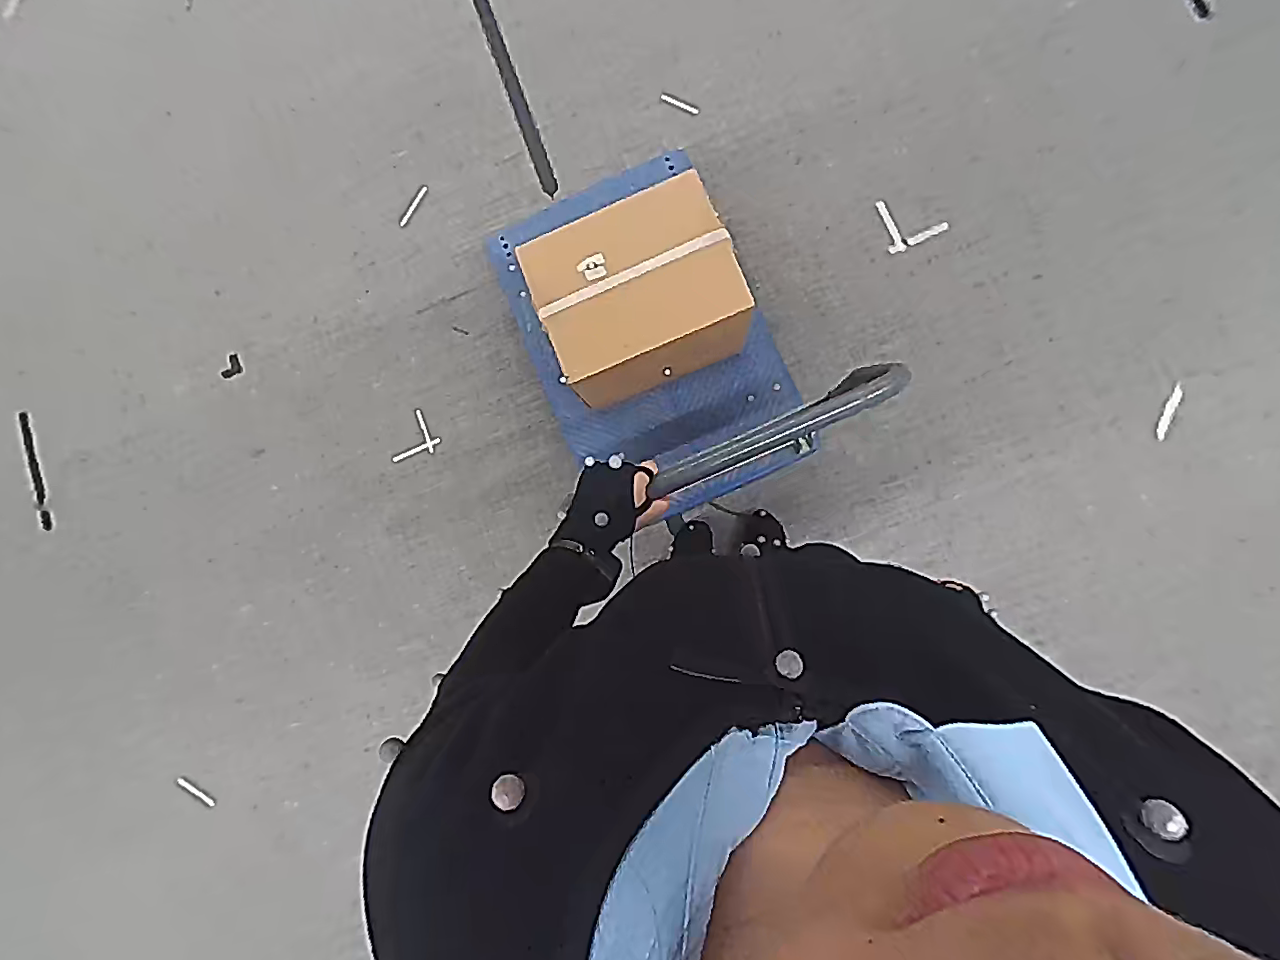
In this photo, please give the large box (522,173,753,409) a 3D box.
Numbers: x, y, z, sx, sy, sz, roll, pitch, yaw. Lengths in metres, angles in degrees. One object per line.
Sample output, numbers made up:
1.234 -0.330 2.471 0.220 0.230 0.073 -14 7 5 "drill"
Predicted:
0.006 -0.401 1.244 0.408 0.320 0.320 -22 83 5 "large box"
